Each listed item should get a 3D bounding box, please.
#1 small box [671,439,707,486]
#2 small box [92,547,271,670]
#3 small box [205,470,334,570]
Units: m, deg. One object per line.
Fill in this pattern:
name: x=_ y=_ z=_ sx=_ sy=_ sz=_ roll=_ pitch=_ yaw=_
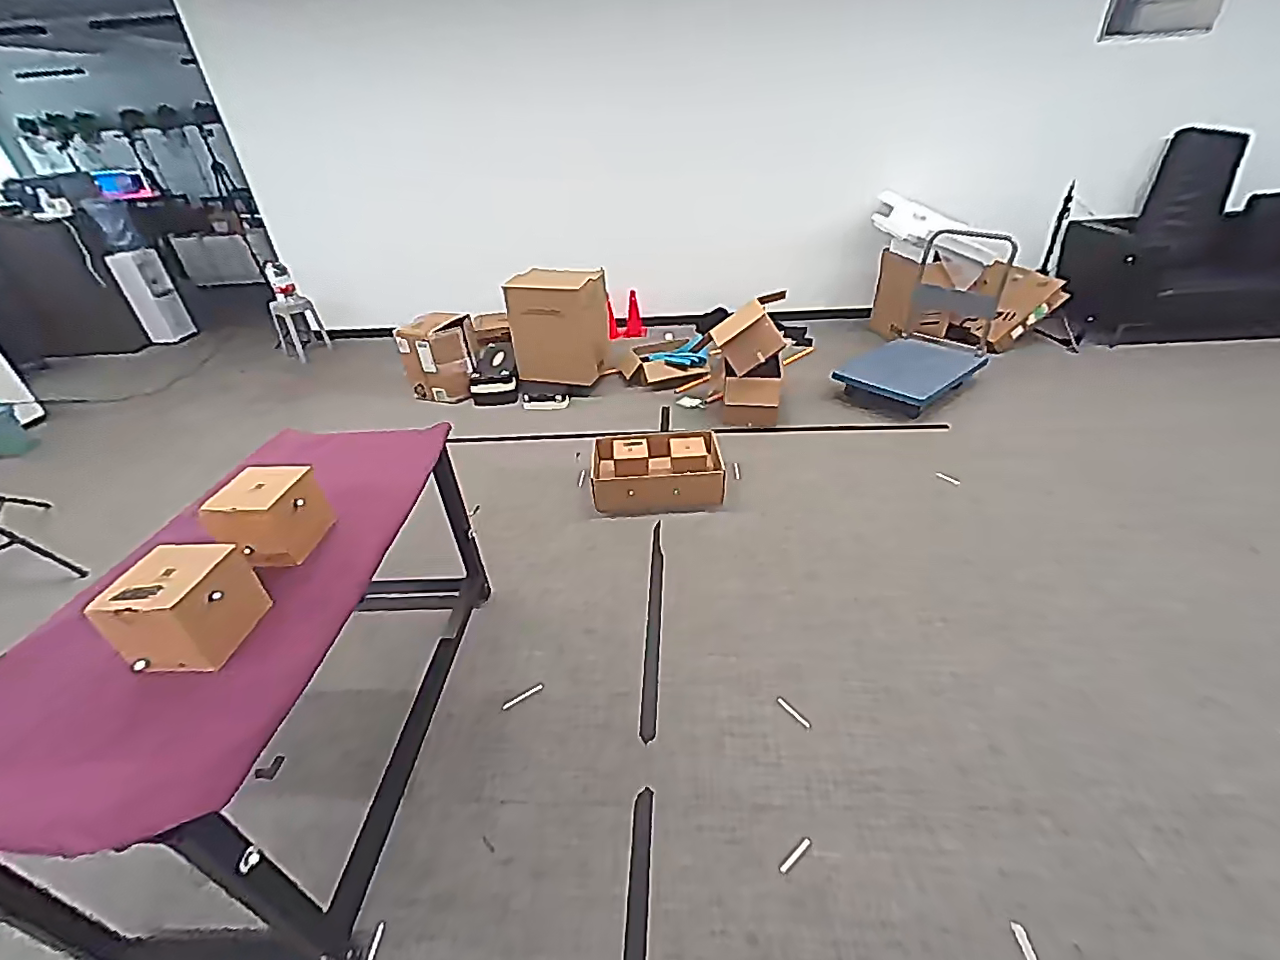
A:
small box: x=0.239 y=-0.080 z=2.638 sx=0.168 sy=0.176 sz=0.179 roll=-3 pitch=33 yaw=1
small box: x=-0.867 y=0.250 z=1.049 sx=0.168 sy=0.176 sz=0.179 roll=-1 pitch=33 yaw=4
small box: x=-0.863 y=0.092 z=1.287 sx=0.168 sy=0.176 sz=0.179 roll=-1 pitch=34 yaw=5
